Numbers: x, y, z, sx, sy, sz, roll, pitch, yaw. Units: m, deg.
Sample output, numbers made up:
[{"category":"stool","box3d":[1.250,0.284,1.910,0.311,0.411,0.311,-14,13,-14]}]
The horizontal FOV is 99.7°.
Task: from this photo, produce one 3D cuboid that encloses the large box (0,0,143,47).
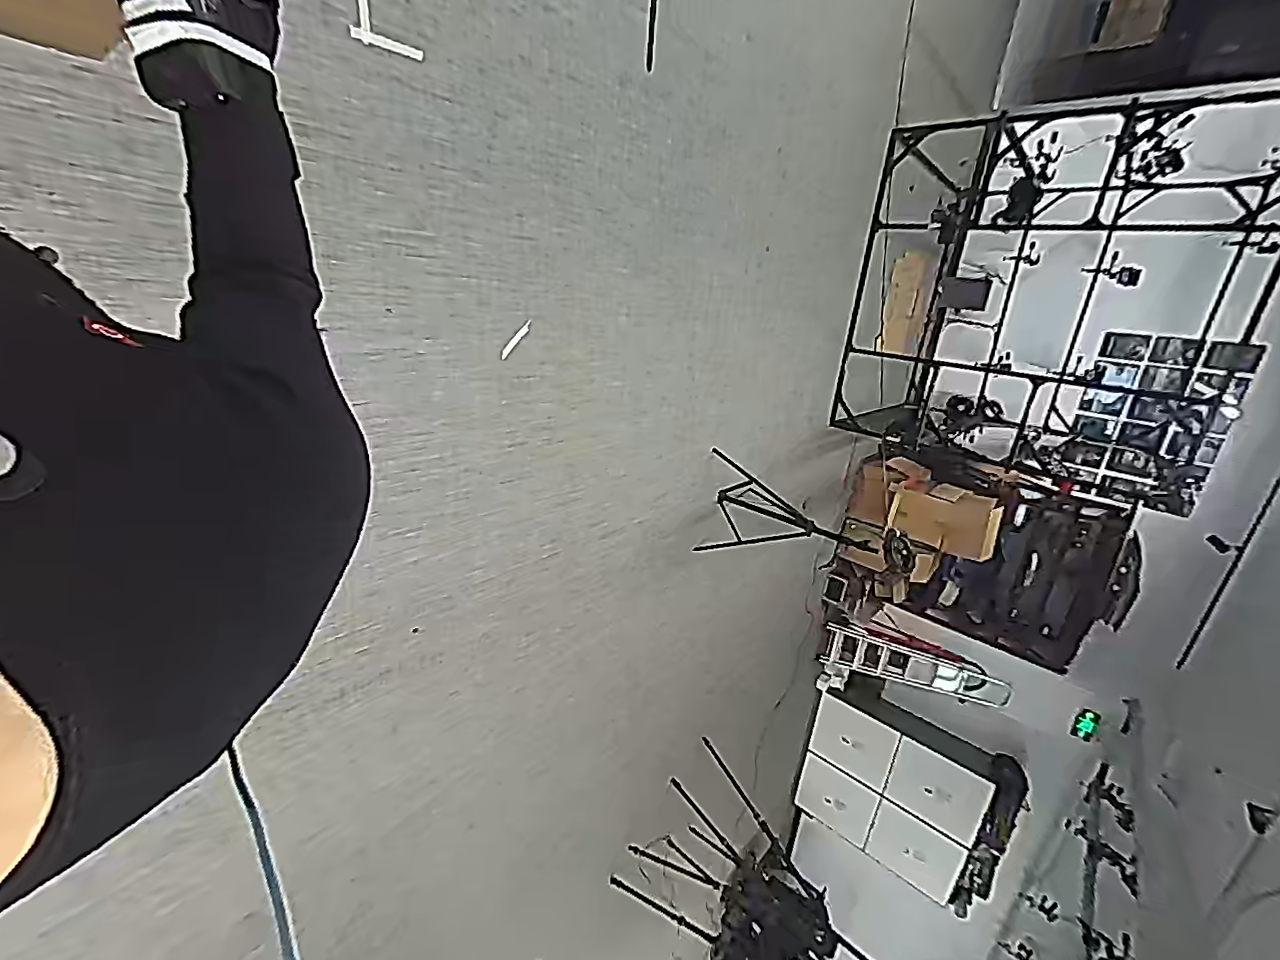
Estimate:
[{"category":"large box","box3d":[-0.540,-0.481,0.253,0.408,0.320,0.320,-17,122,-48]}]
